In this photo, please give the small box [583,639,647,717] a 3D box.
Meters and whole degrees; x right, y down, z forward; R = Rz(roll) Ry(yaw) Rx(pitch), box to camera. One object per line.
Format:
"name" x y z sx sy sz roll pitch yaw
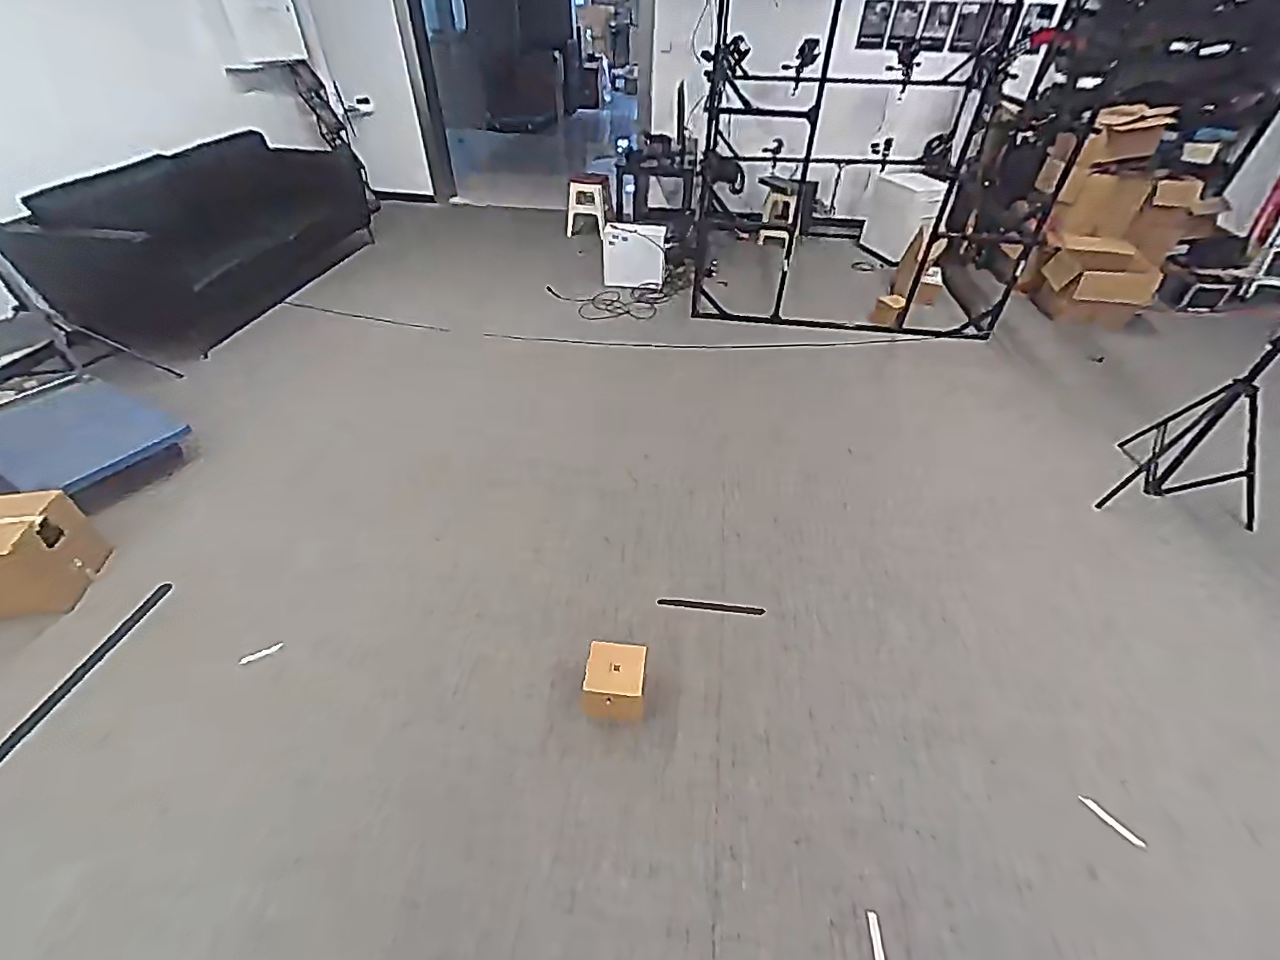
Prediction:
"small box" -0.073 0.619 1.683 0.179 0.176 0.168 4 42 5
